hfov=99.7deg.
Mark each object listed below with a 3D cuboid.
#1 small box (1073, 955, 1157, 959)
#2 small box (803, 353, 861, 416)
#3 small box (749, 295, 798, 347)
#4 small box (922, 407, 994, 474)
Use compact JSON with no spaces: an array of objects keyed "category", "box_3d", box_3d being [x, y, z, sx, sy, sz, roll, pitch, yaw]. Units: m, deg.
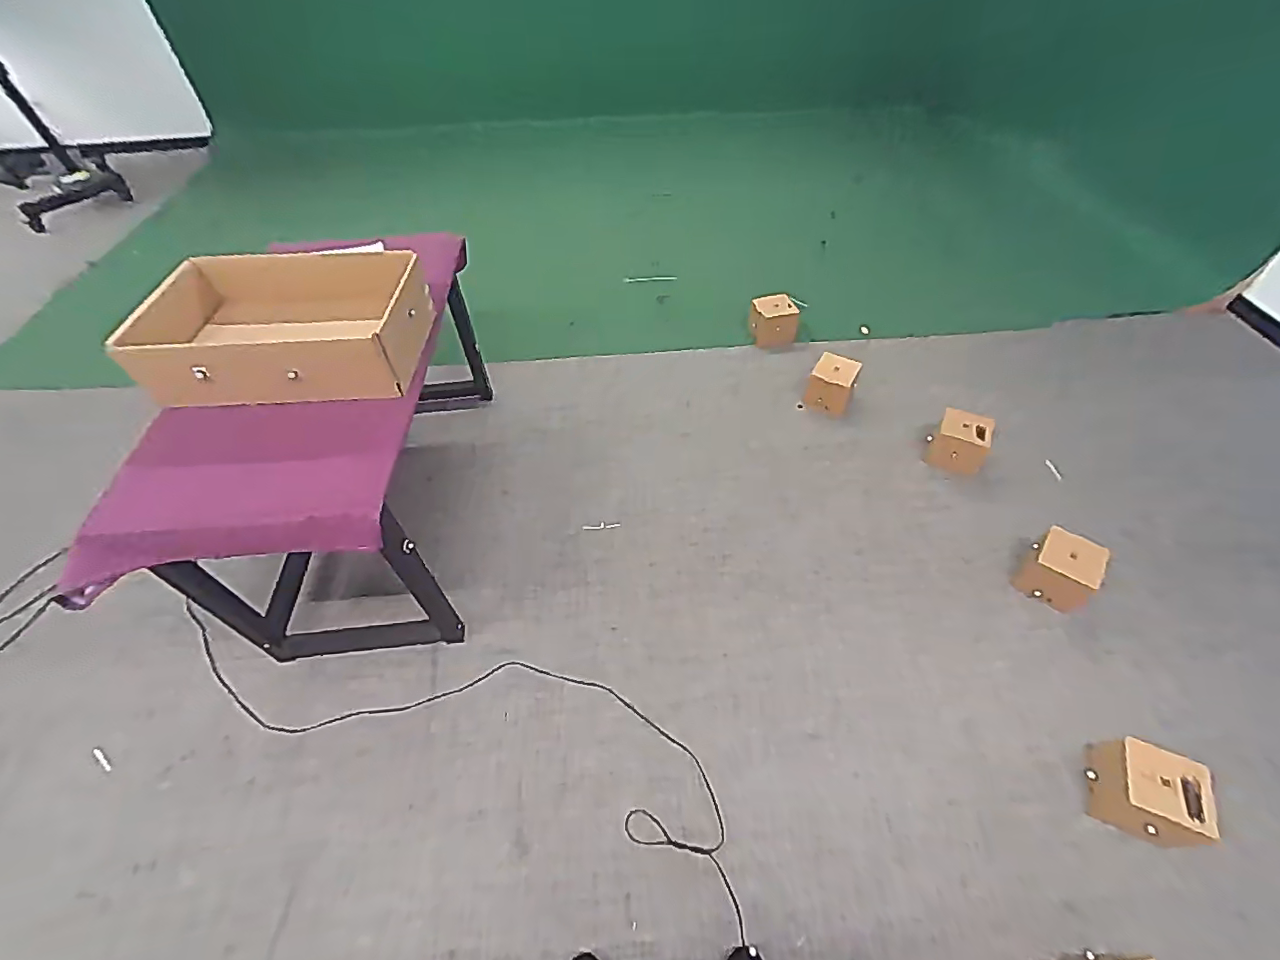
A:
[{"category":"small box","box_3d":[0.958,1.072,1.078,0.168,0.176,0.179,-7,51,-3]},{"category":"small box","box_3d":[0.813,-0.406,2.304,0.168,0.176,0.179,25,57,20]},{"category":"small box","box_3d":[0.632,-0.760,2.600,0.179,0.176,0.168,-13,51,-8]},{"category":"small box","box_3d":[1.217,-0.147,2.073,0.179,0.176,0.168,22,54,19]}]
